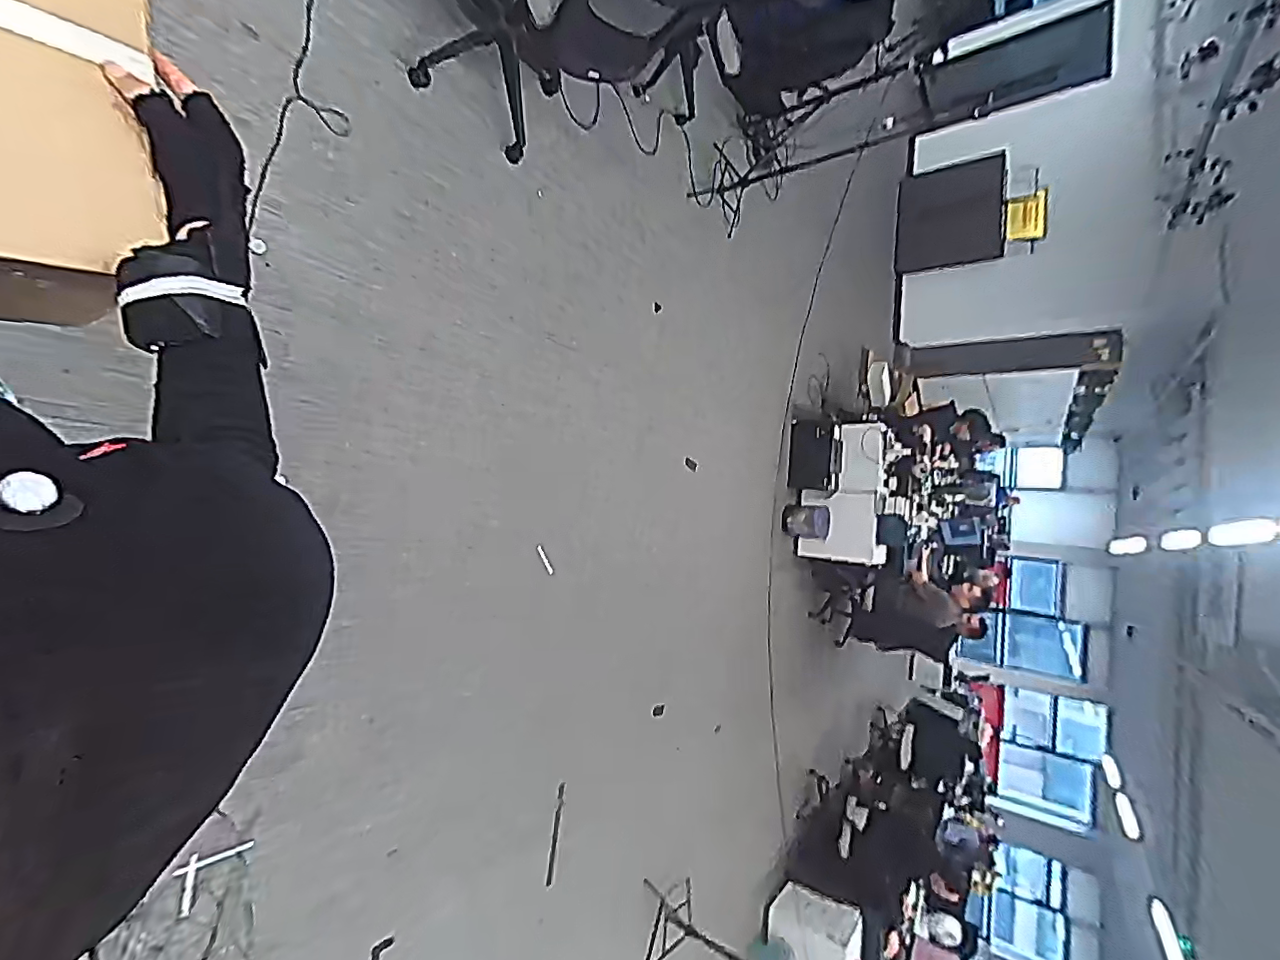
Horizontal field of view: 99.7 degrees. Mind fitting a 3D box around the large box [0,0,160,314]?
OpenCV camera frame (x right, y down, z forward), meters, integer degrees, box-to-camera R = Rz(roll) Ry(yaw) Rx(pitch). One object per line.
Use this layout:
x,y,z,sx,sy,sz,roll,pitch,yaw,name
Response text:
-0.627,-0.304,0.341,0.408,0.320,0.320,-10,102,-55,large box
